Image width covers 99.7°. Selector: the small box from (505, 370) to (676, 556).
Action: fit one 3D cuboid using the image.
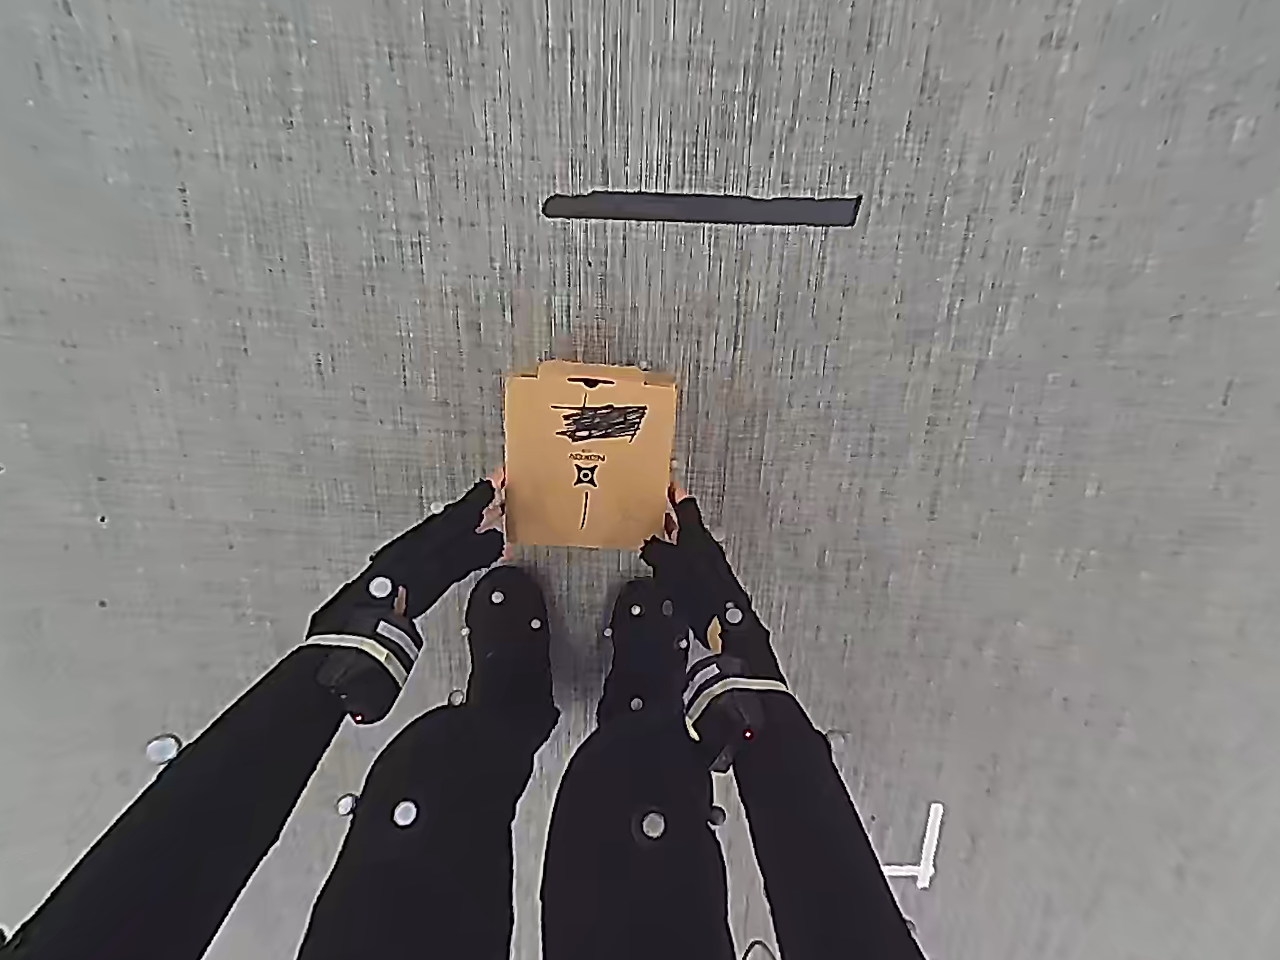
[{"bbox_3d":[-0.054,-0.030,0.619,0.168,0.176,0.179,4,106,-1],"label":"small box"}]
